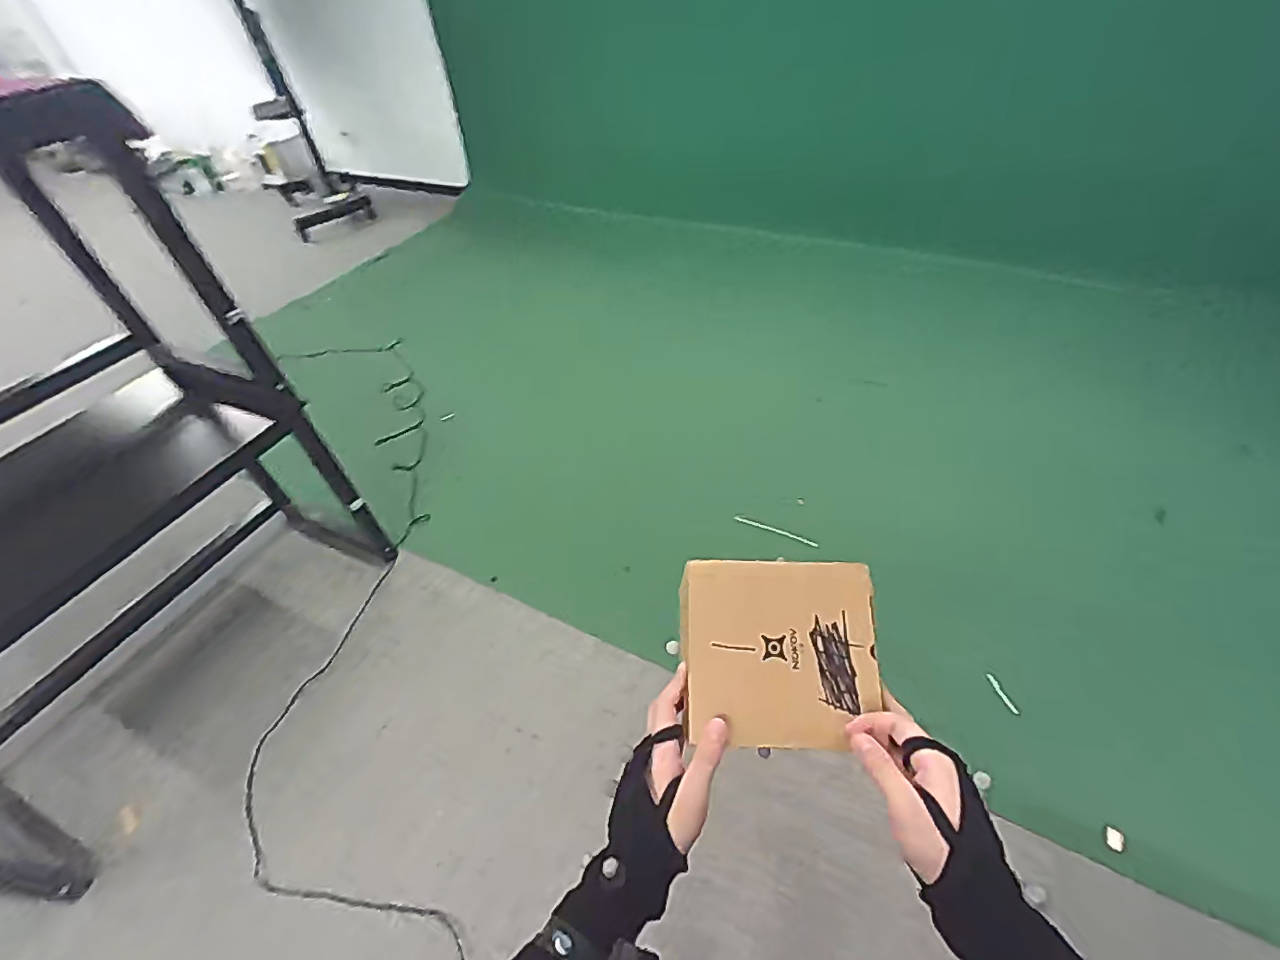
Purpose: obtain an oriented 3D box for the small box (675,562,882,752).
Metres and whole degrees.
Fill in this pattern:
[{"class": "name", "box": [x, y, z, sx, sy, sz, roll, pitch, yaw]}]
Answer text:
[{"class": "small box", "box": [0.128, 0.186, 0.573, 0.179, 0.176, 0.168, 0, 68, 3]}]
